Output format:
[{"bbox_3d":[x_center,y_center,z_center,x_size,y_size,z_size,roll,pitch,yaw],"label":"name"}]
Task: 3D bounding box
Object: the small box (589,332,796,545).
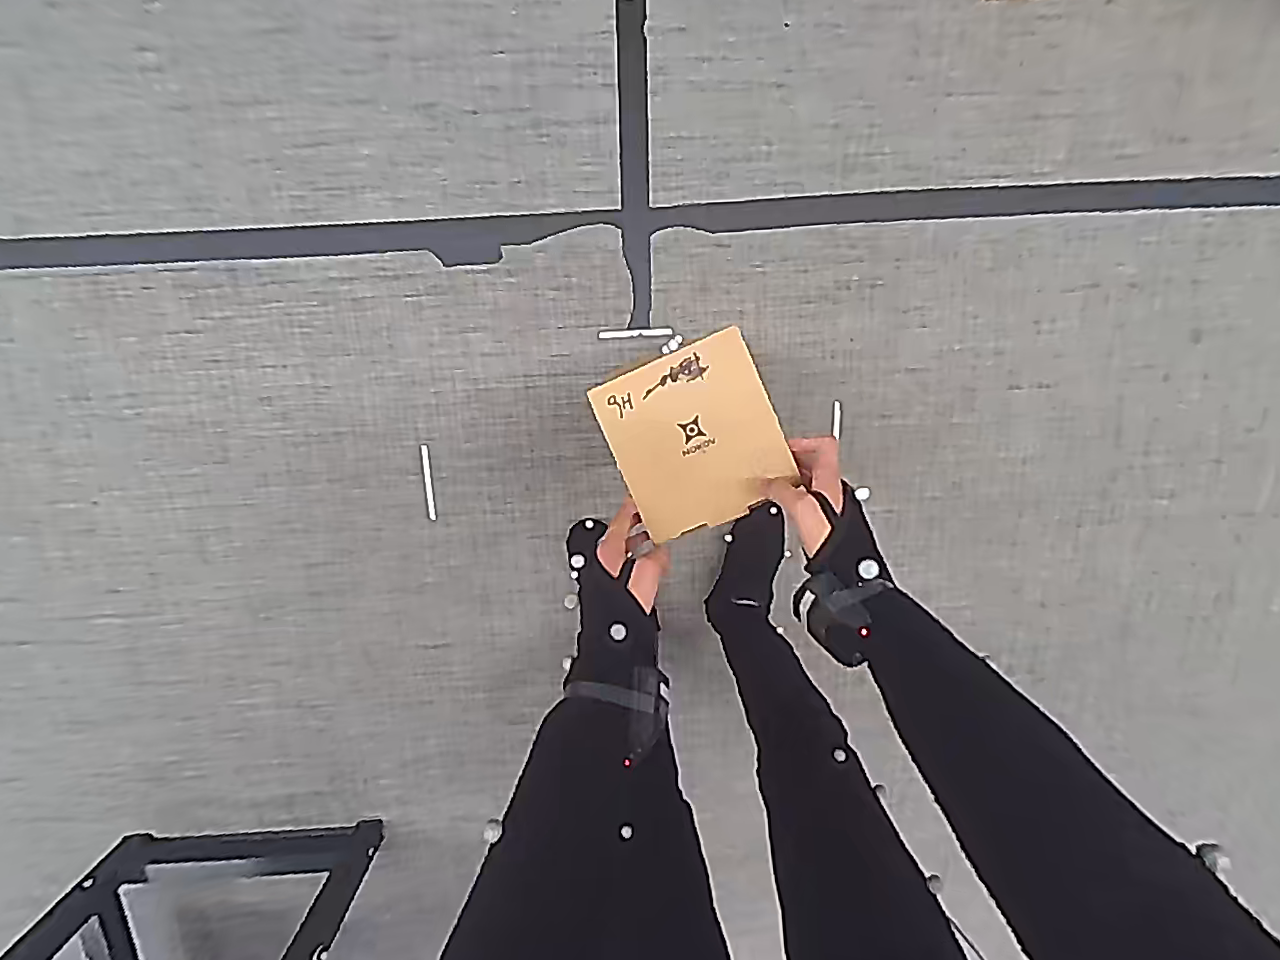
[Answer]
[{"bbox_3d":[0.059,-0.050,0.627,0.168,0.176,0.179,-23,95,5],"label":"small box"}]
